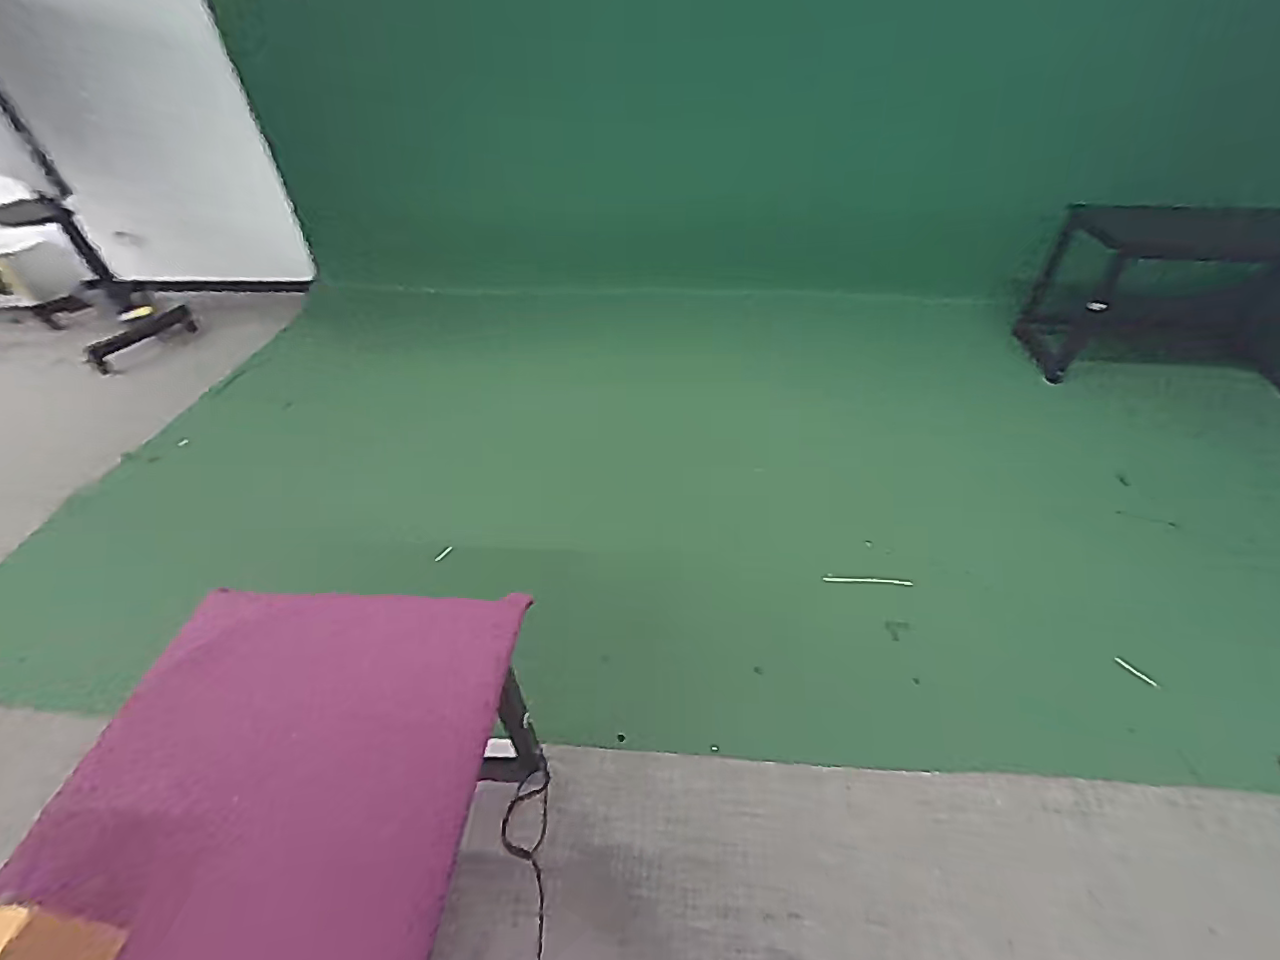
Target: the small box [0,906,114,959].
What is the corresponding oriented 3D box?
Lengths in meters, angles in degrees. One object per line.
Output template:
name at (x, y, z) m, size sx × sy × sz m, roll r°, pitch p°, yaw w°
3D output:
small box at (-0.764, 0.583, 0.592) m, size 0.179 × 0.176 × 0.168 m, roll 2°, pitch 43°, yaw 1°
